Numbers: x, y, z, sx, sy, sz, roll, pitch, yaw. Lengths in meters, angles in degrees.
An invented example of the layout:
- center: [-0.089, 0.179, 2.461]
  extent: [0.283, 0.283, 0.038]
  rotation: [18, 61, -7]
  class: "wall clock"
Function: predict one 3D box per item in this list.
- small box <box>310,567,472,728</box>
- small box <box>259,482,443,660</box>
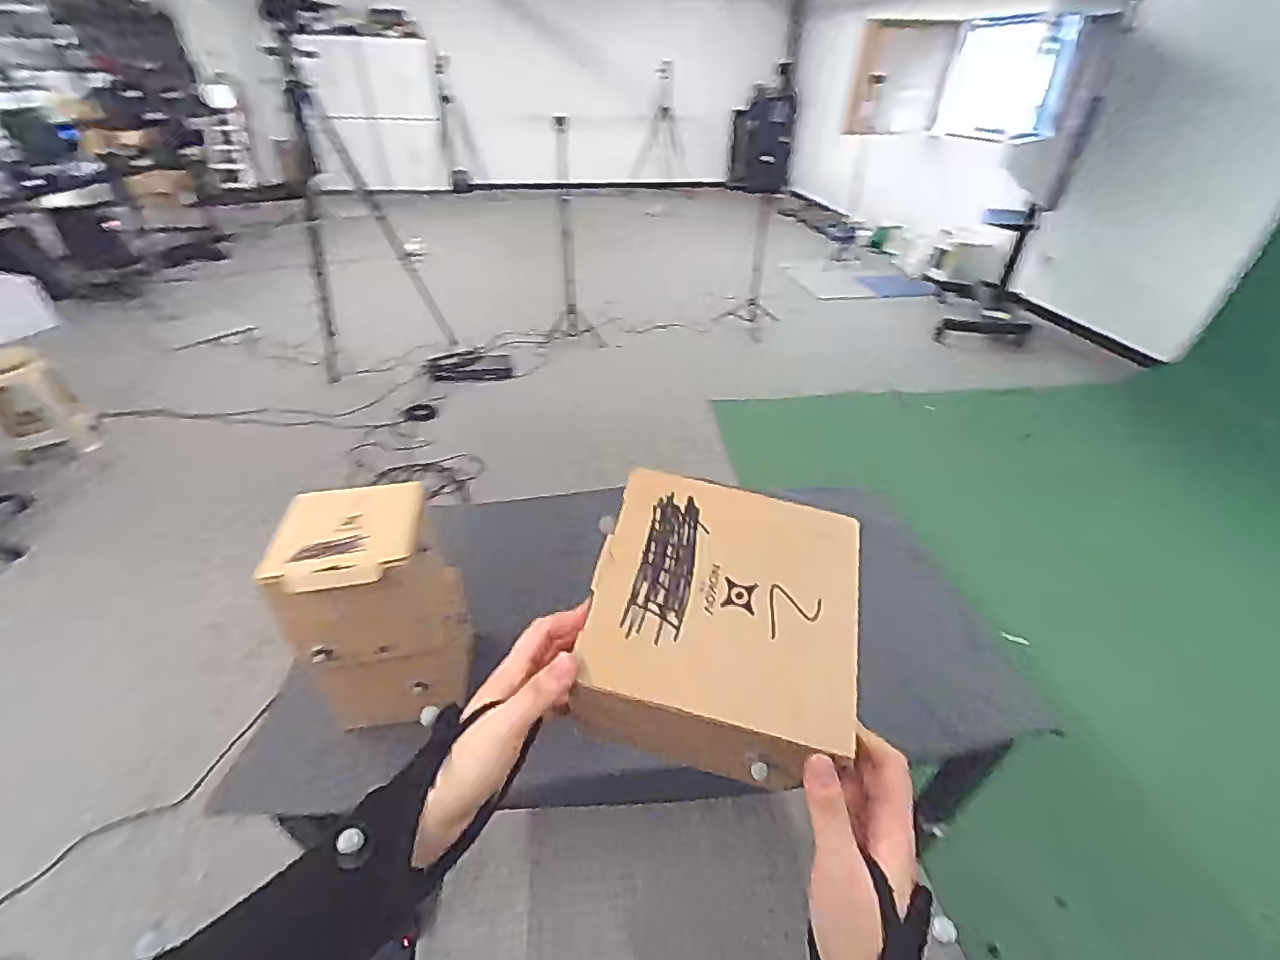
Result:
- center: [-0.367, 0.259, 0.842]
  extent: [0.179, 0.176, 0.168]
  rotation: [-5, 35, -7]
  class: "small box"
- center: [-0.375, 0.127, 0.743]
  extent: [0.168, 0.176, 0.179]
  rotation: [-6, 35, -11]
  class: "small box"
